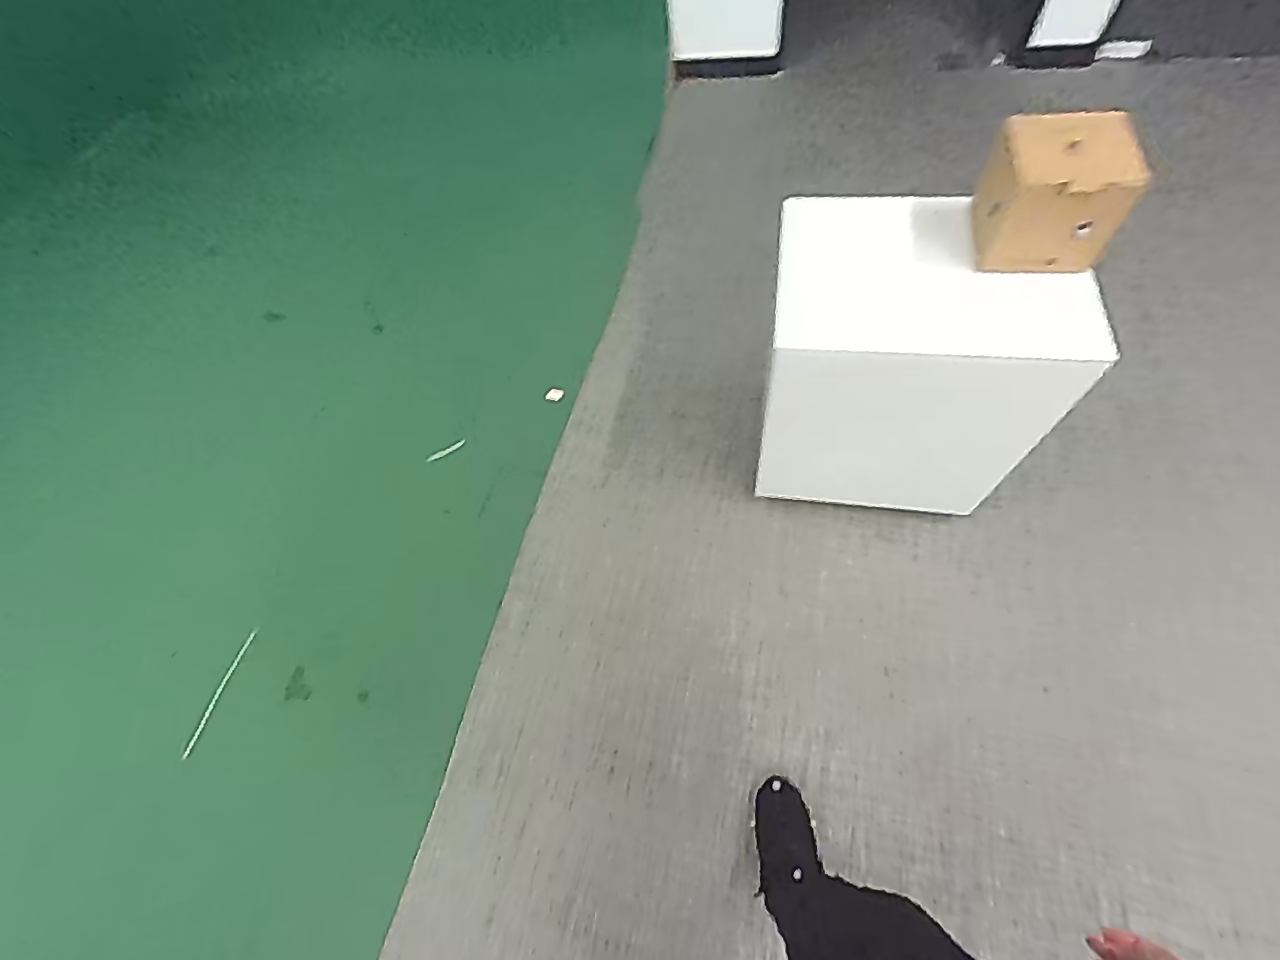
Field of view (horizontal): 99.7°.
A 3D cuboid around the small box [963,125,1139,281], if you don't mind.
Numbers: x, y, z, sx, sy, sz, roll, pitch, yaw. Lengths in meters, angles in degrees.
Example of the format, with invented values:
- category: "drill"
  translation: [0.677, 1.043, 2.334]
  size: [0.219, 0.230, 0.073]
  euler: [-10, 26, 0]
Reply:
- category: "small box"
  translation: [0.662, -0.452, 0.898]
  size: [0.168, 0.176, 0.179]
  euler: [5, 61, 10]
